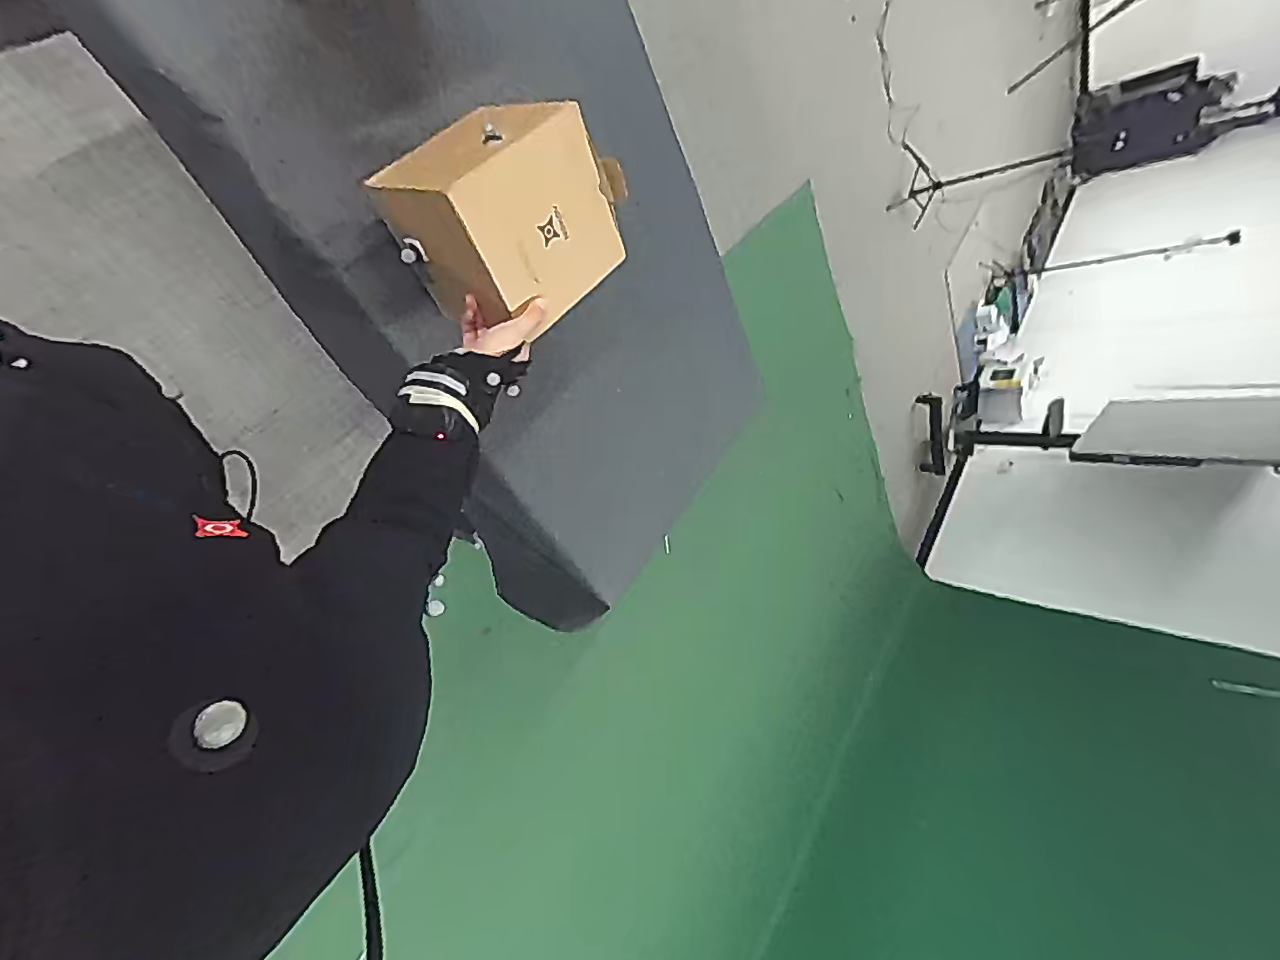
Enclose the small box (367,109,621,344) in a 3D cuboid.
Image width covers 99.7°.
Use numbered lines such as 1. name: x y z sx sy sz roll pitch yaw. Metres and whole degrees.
1. small box: -0.154 -0.283 0.596 0.179 0.176 0.168 -50 143 -21
